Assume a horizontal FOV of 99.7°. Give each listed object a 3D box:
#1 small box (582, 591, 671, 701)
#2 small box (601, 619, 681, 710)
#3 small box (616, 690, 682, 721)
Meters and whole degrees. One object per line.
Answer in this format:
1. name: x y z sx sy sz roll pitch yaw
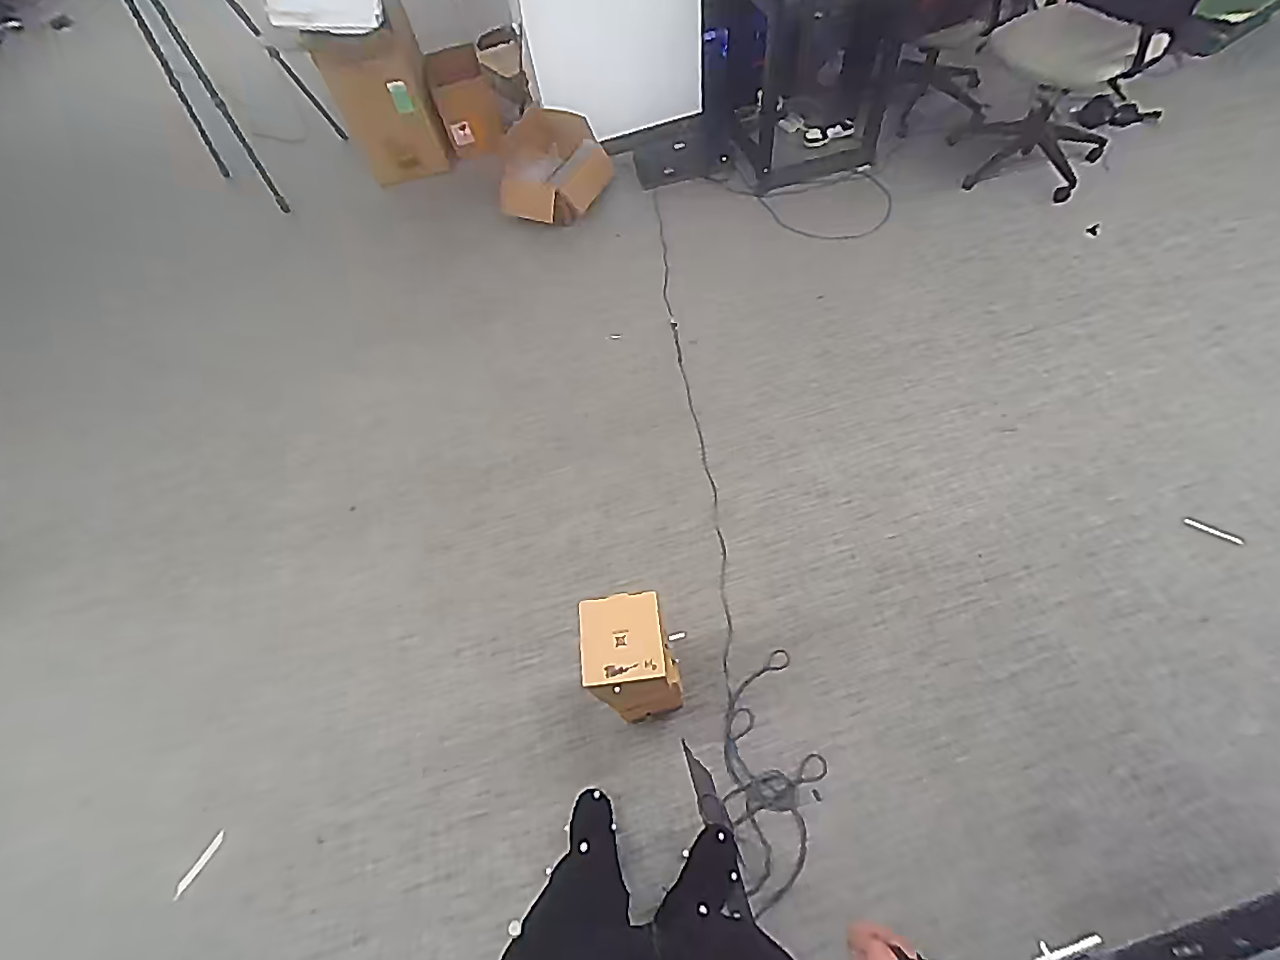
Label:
1. small box: -0.027 0.358 1.155 0.168 0.176 0.179 -8 58 3
2. small box: -0.007 0.439 1.296 0.179 0.176 0.168 -14 59 -1
3. small box: 0.011 0.521 1.435 0.168 0.176 0.179 -16 59 -1
